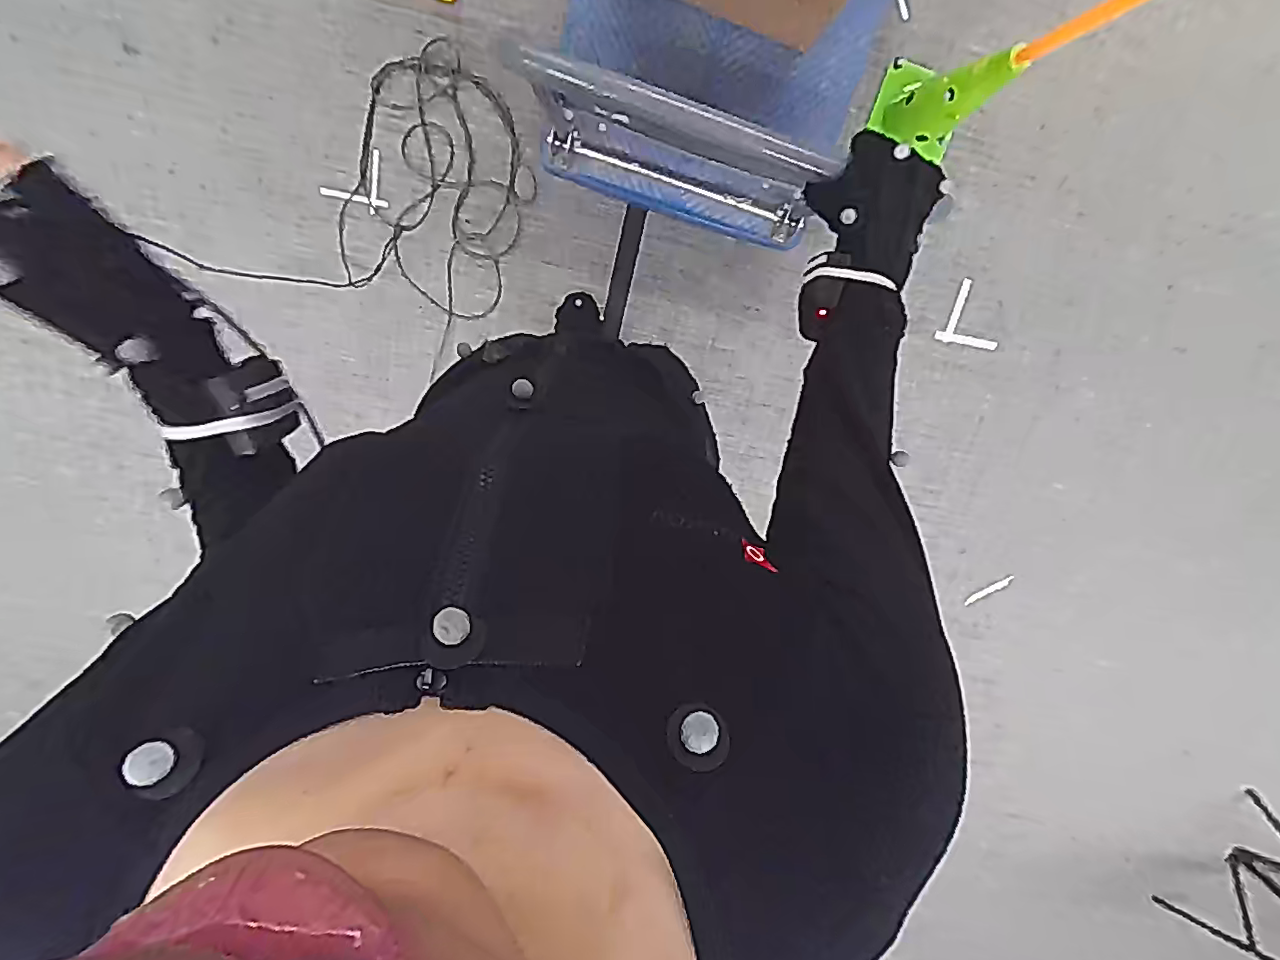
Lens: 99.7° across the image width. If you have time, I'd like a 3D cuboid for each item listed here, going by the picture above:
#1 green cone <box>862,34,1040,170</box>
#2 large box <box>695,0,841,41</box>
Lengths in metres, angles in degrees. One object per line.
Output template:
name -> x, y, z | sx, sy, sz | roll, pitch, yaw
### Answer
green cone -> 0.638, -0.785, 1.075 | 0.202, 0.368, 0.200 | 15, 108, -9
large box -> 0.179, -0.976, 0.835 | 0.408, 0.320, 0.320 | 16, 109, -7
